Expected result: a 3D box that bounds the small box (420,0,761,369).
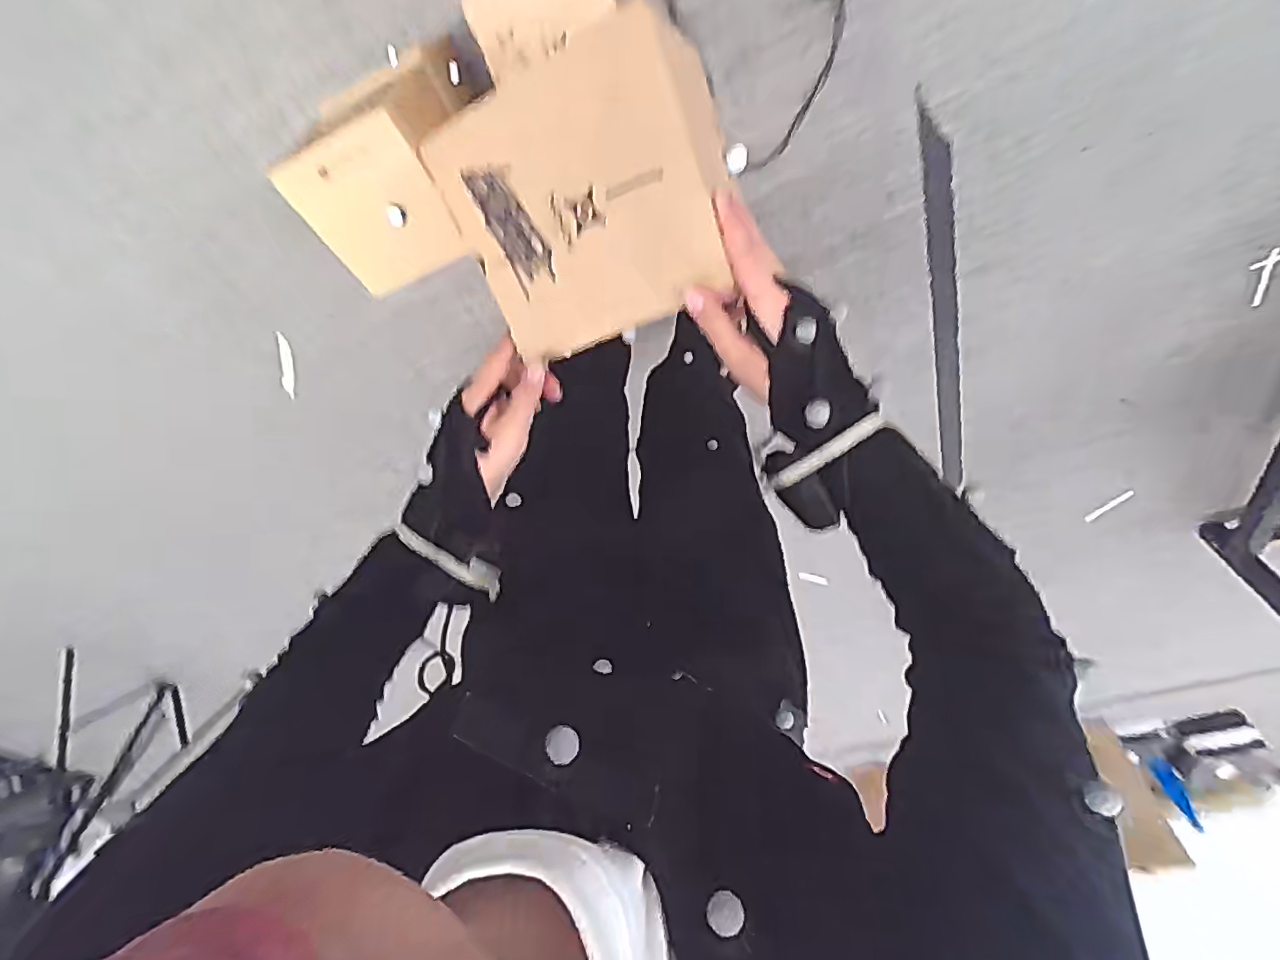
[{"bbox_3d":[-0.019,-0.207,0.415,0.179,0.176,0.168,-14,113,24],"label":"small box"}]
